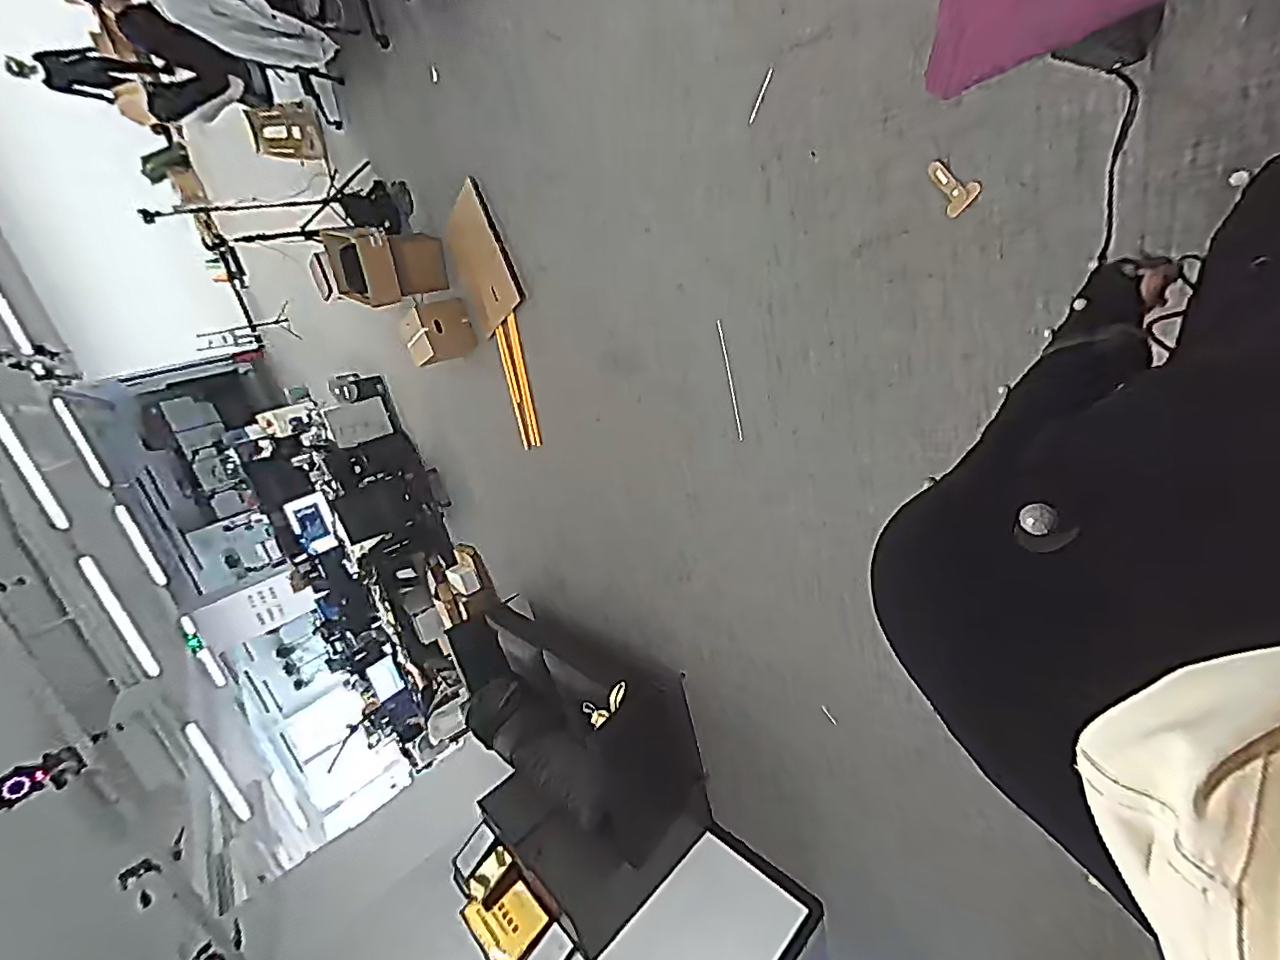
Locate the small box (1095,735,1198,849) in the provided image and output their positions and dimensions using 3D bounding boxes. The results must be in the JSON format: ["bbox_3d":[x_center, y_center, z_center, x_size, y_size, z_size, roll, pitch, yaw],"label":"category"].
[{"bbox_3d":[1.380,0.838,1.473,0.179,0.176,0.168,13,122,49],"label":"small box"}]
